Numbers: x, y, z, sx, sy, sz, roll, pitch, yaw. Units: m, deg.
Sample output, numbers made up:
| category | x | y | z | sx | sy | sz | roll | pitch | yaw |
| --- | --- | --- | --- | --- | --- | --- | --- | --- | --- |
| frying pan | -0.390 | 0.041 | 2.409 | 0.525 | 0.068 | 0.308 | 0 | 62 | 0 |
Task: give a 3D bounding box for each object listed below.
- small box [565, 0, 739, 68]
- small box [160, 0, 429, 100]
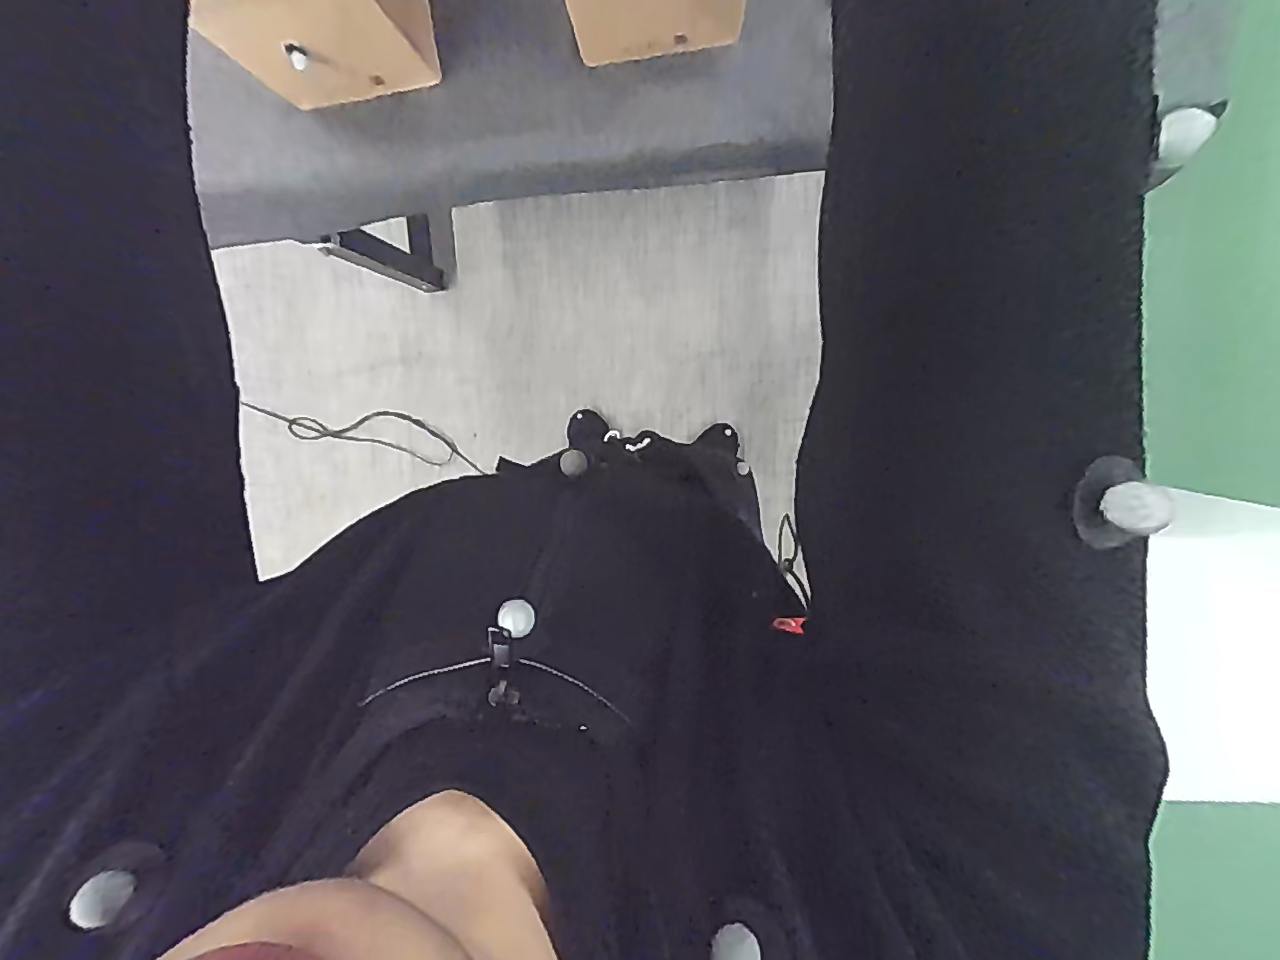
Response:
| category | x | y | z | sx | sy | sz | roll | pitch | yaw |
| --- | --- | --- | --- | --- | --- | --- | --- | --- | --- |
| small box | 0.003 | -0.520 | 0.482 | 0.168 | 0.176 | 0.179 | -5 | 97 | 5 |
| small box | -0.319 | -0.492 | 0.505 | 0.168 | 0.176 | 0.179 | -7 | 98 | 4 |
